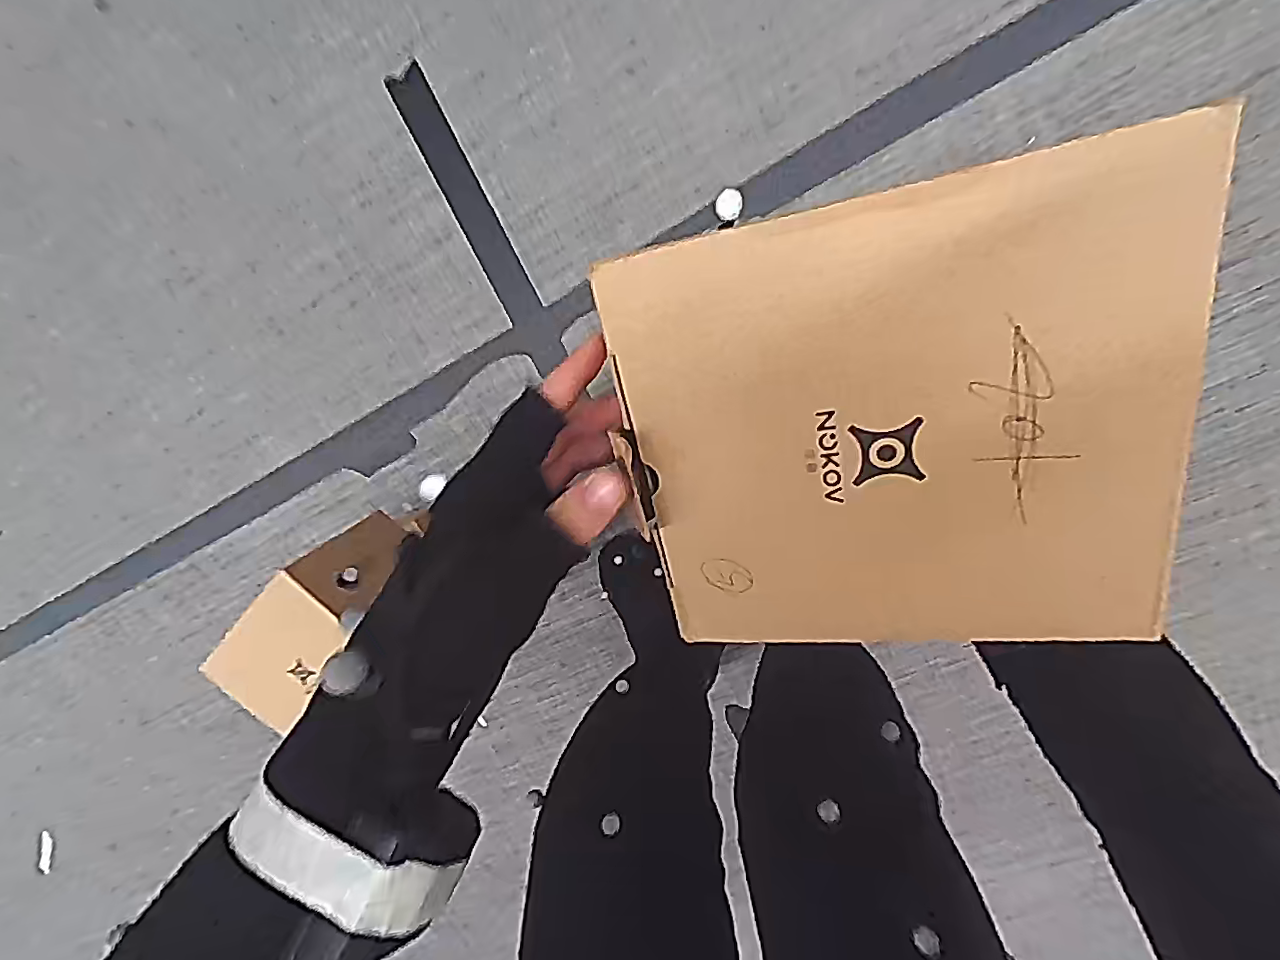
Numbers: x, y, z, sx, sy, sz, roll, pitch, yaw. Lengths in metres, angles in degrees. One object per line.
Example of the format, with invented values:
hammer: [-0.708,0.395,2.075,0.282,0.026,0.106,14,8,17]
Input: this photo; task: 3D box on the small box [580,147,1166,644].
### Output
small box: [0.097,-0.040,0.268,0.179,0.176,0.168,-7,114,20]

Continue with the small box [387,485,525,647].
small box: [-0.291,0.133,0.775,0.168,0.176,0.179,-27,102,13]

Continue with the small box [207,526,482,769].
small box: [-0.318,0.174,0.617,0.168,0.176,0.179,-40,102,17]
